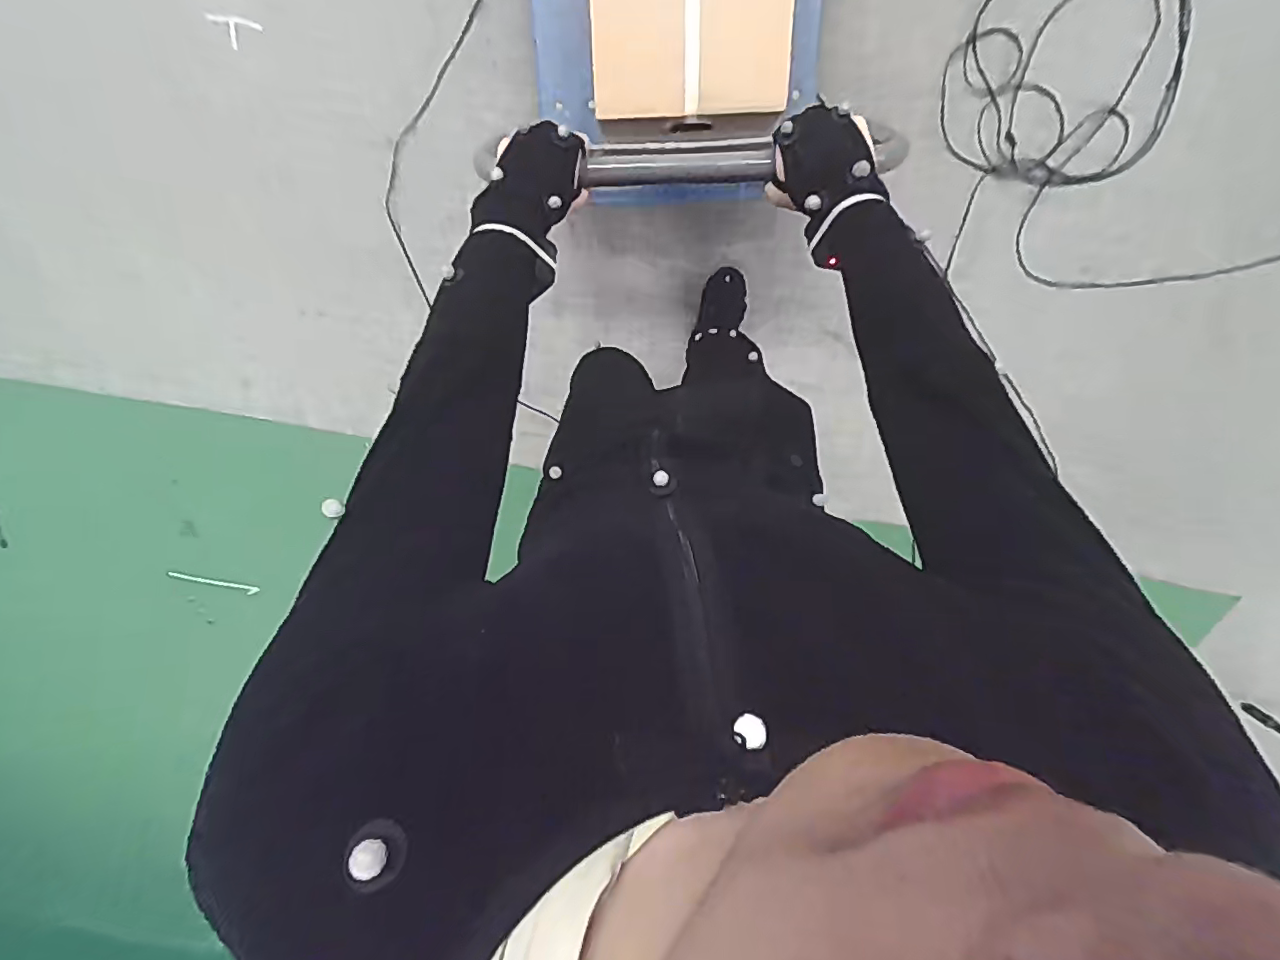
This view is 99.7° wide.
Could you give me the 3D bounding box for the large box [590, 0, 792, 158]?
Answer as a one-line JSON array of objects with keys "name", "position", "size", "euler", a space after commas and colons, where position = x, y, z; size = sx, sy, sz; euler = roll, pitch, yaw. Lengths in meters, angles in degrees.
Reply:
[{"name": "large box", "position": [0.084, -0.831, 0.953], "size": [0.320, 0.320, 0.408], "euler": [-1, 112, 3]}]
